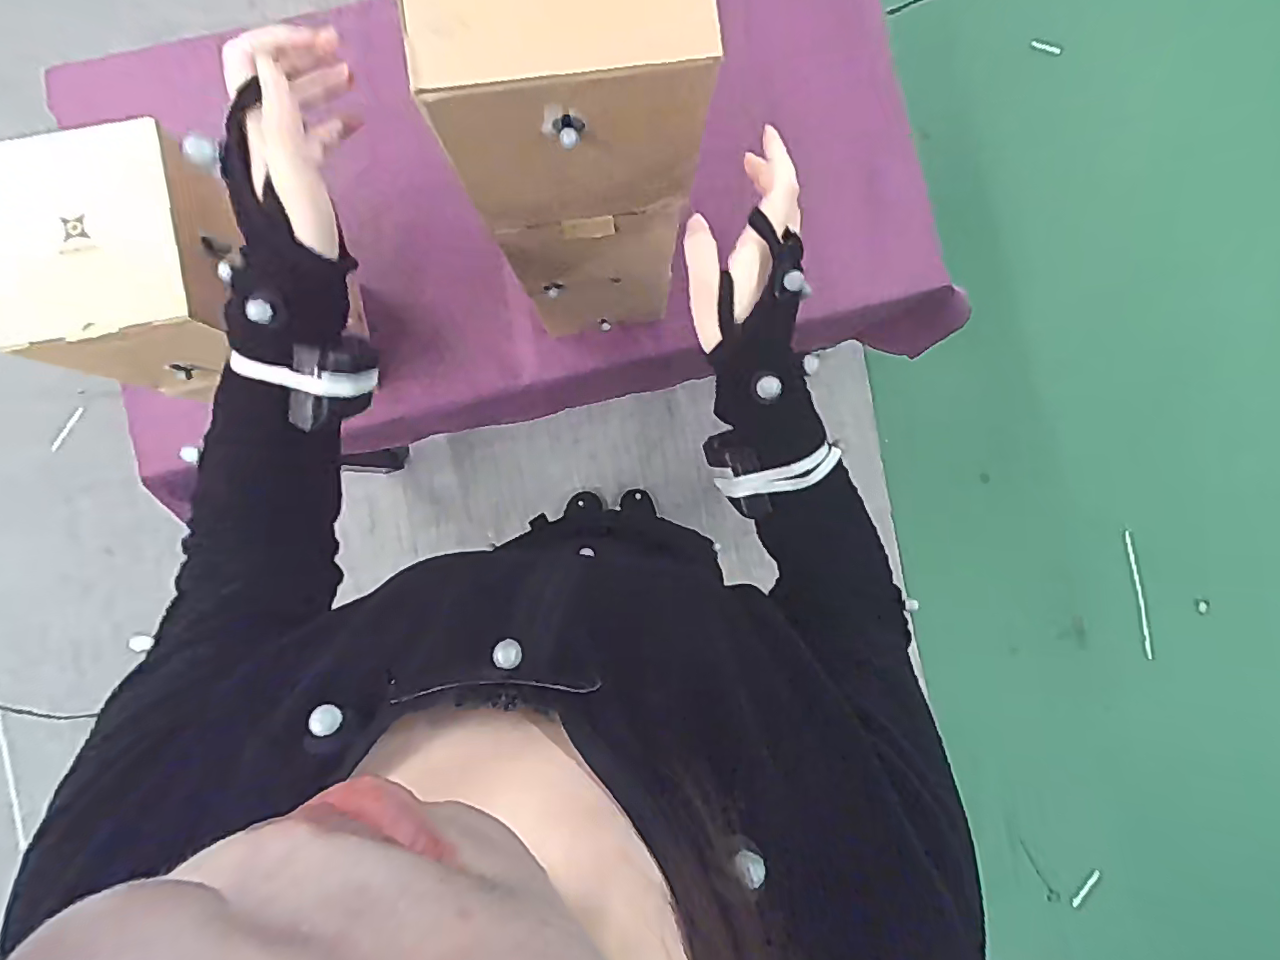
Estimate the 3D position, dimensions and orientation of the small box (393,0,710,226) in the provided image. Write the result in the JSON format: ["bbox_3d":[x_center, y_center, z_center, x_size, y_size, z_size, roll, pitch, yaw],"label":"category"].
[{"bbox_3d":[-0.055,-0.300,0.381,0.179,0.176,0.168,-7,90,-1],"label":"small box"}]

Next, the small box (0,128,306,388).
[{"bbox_3d":[-0.473,-0.204,0.541,0.168,0.176,0.179,-10,90,-1],"label":"small box"}]

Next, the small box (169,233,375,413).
[{"bbox_3d":[-0.470,-0.192,0.704,0.179,0.176,0.168,-11,88,-1],"label":"small box"}]

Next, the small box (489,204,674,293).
[{"bbox_3d":[-0.059,-0.303,0.545,0.168,0.176,0.179,-8,88,0],"label":"small box"}]
